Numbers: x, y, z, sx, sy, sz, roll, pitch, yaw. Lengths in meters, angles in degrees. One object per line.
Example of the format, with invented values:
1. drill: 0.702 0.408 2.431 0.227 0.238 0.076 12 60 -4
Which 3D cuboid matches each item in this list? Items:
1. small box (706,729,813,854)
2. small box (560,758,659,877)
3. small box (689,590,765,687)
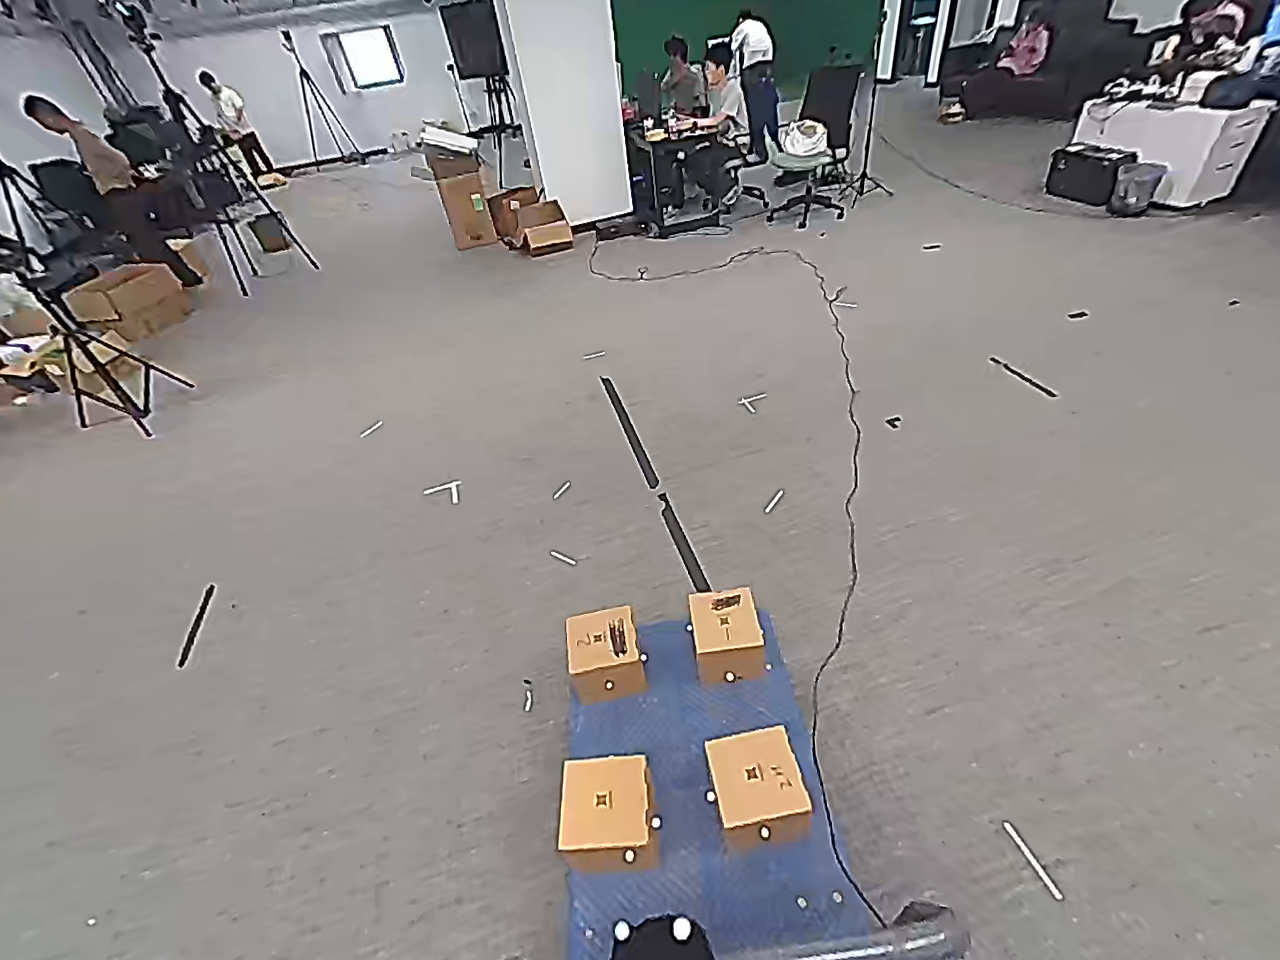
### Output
1. small box: 0.246 0.655 1.134 0.179 0.176 0.168 -11 41 -1
2. small box: -0.059 0.710 1.134 0.179 0.176 0.168 -6 40 2
3. small box: 0.224 0.415 1.415 0.168 0.176 0.179 -8 42 2
